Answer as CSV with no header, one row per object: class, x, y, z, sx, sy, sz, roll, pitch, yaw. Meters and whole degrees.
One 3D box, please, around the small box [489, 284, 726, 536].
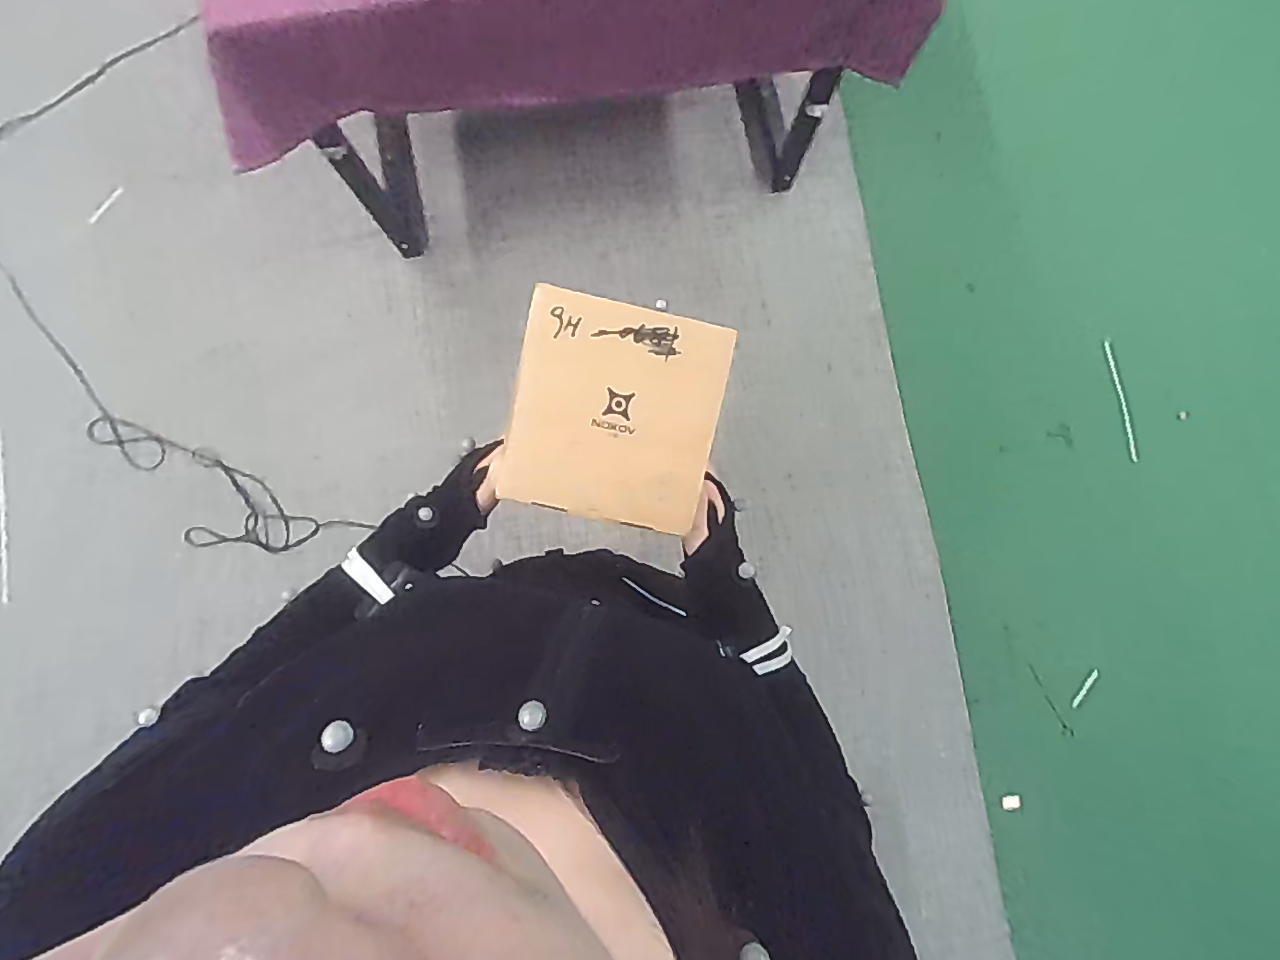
small box,-0.030,-0.064,0.516,0.168,0.176,0.179,12,97,-5
